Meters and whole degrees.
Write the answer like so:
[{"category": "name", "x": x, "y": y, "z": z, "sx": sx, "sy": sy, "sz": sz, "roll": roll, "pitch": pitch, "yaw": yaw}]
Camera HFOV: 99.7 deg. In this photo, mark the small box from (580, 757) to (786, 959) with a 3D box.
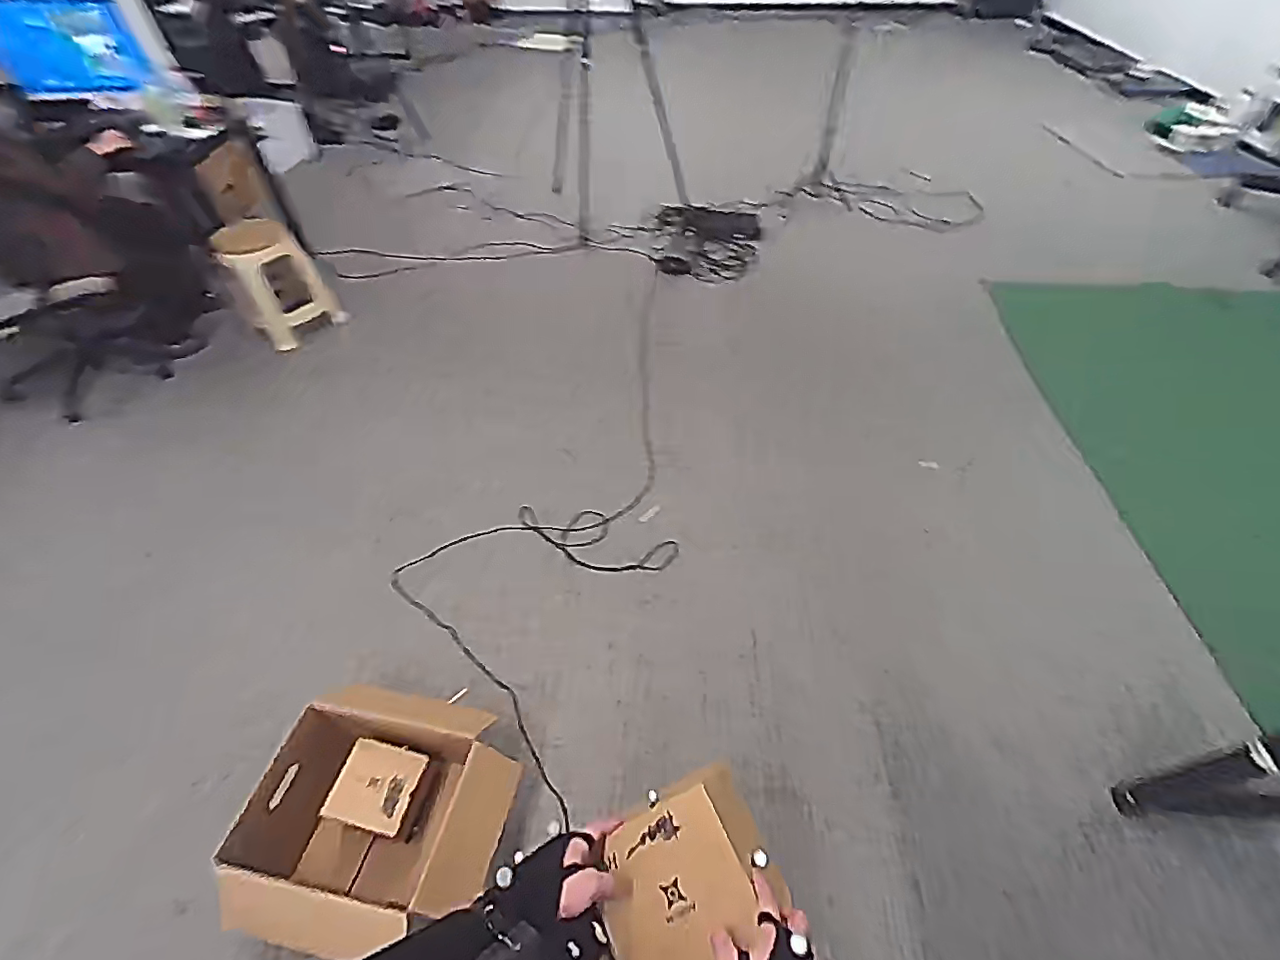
[{"category": "small box", "x": 0.060, "y": 0.458, "z": 0.638, "sx": 0.168, "sy": 0.176, "sz": 0.179, "roll": -30, "pitch": 66, "yaw": 5}]
